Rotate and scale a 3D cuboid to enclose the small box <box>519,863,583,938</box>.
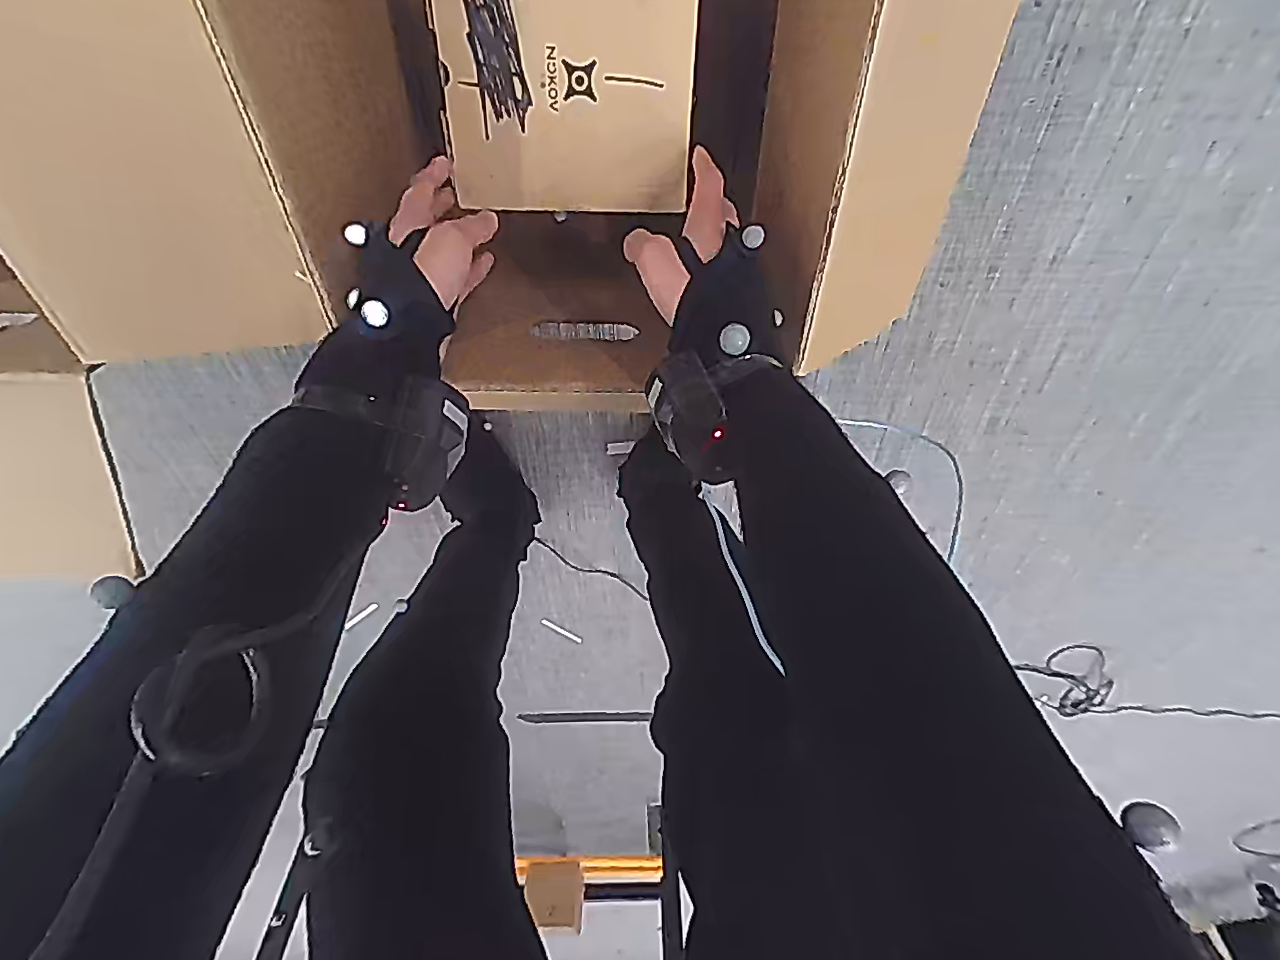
[{"bbox_3d":[-0.287,1.384,1.780,0.179,0.176,0.168,-2,131,1],"label":"small box"}]
